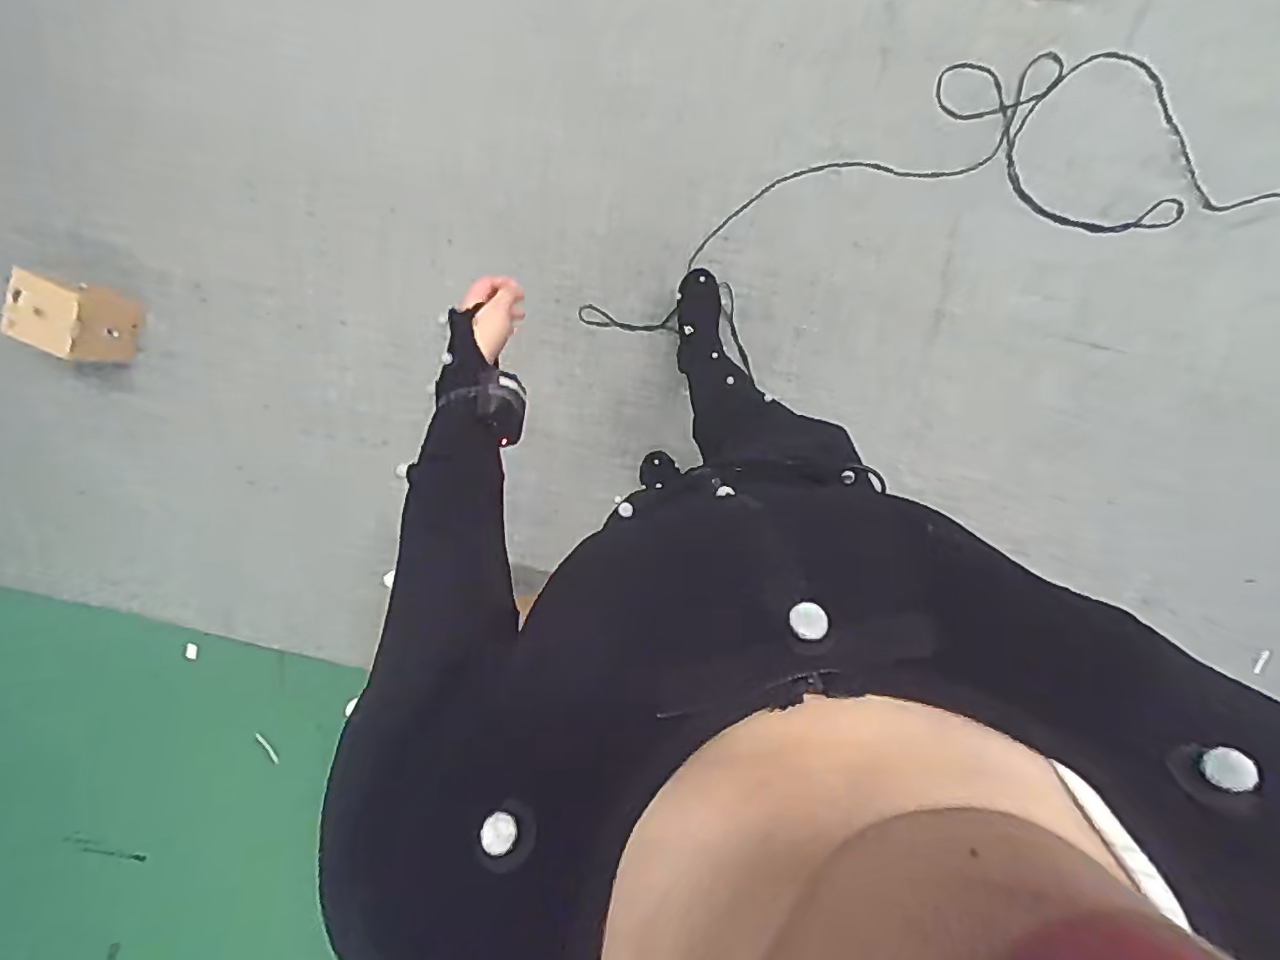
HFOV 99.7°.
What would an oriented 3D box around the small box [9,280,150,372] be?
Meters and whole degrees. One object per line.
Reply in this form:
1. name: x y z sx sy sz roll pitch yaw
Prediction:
1. small box: -1.422 -0.387 1.383 0.179 0.176 0.168 24 100 -2
